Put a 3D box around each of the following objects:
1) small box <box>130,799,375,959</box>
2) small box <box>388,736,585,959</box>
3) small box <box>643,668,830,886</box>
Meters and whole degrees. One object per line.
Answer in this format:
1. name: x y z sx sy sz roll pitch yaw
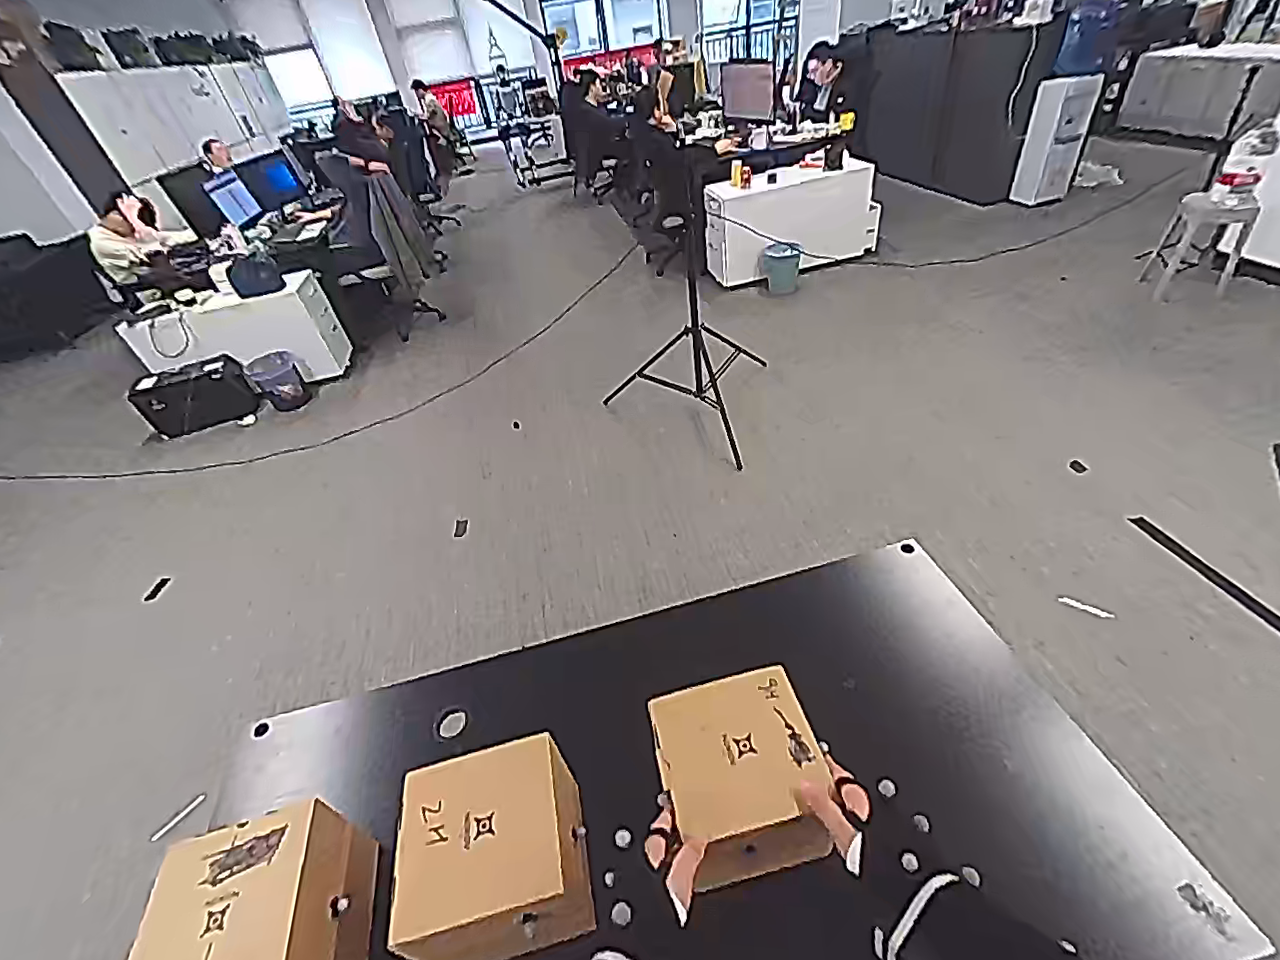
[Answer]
1. small box: -0.425 0.508 0.617 0.168 0.176 0.179 -16 41 -6
2. small box: -0.168 0.440 0.641 0.179 0.176 0.168 -15 40 -5
3. small box: 0.115 0.367 0.667 0.179 0.176 0.168 -14 40 -3
